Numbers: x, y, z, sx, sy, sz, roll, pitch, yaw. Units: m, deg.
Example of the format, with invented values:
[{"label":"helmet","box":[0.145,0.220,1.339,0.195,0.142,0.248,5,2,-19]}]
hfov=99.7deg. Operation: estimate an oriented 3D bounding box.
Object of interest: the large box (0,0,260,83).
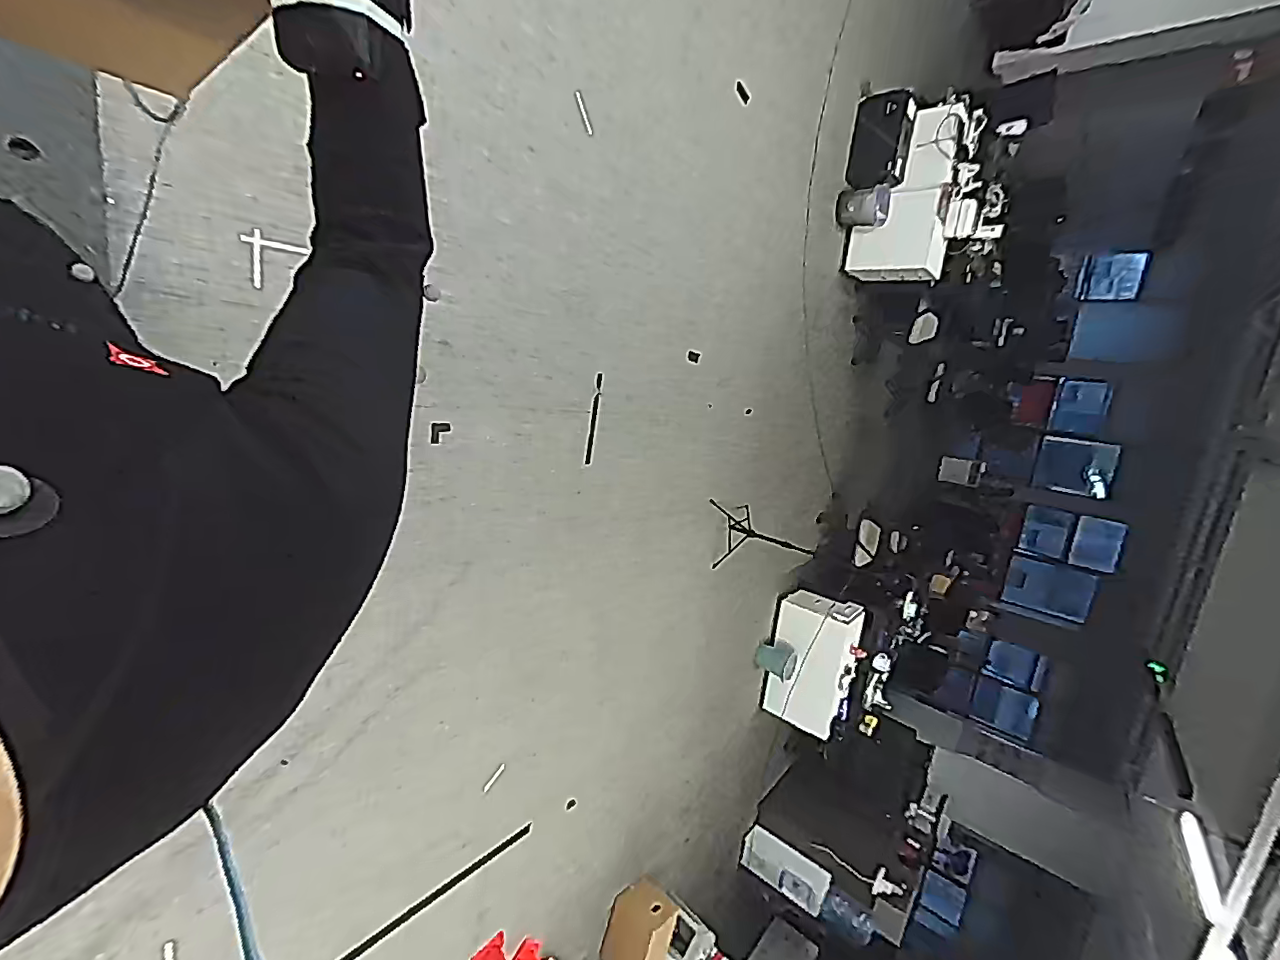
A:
[{"label":"large box","box":[-0.459,-0.488,0.268,0.408,0.320,0.320,-8,109,-50]}]
